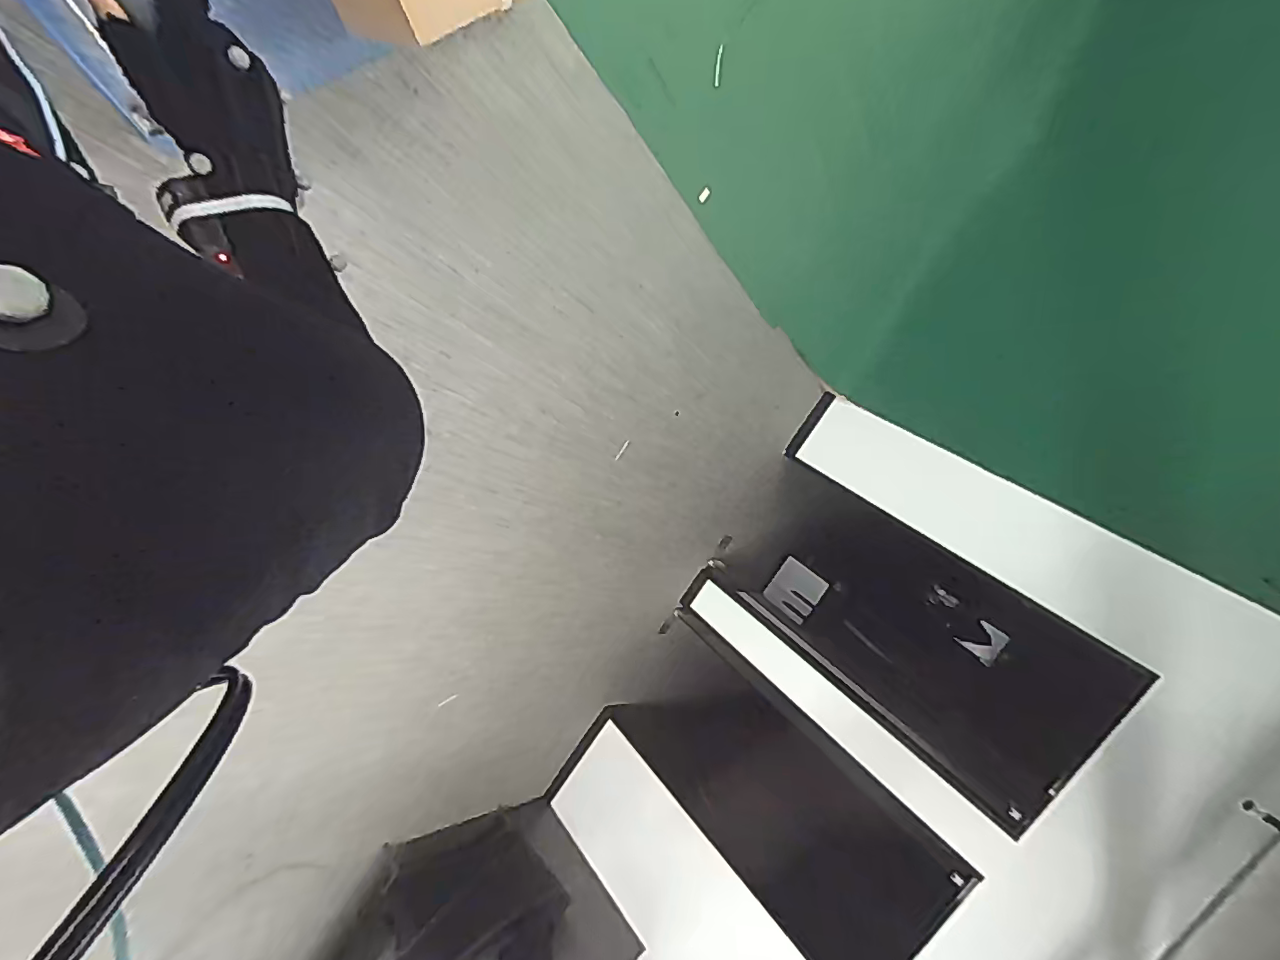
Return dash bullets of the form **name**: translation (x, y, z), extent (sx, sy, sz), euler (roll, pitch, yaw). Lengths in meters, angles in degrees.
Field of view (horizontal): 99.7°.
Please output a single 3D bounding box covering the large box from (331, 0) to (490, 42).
- **large box**: translation (-0.359, -0.915, 0.748), extent (0.320, 0.320, 0.408), euler (-41, 143, -14)
